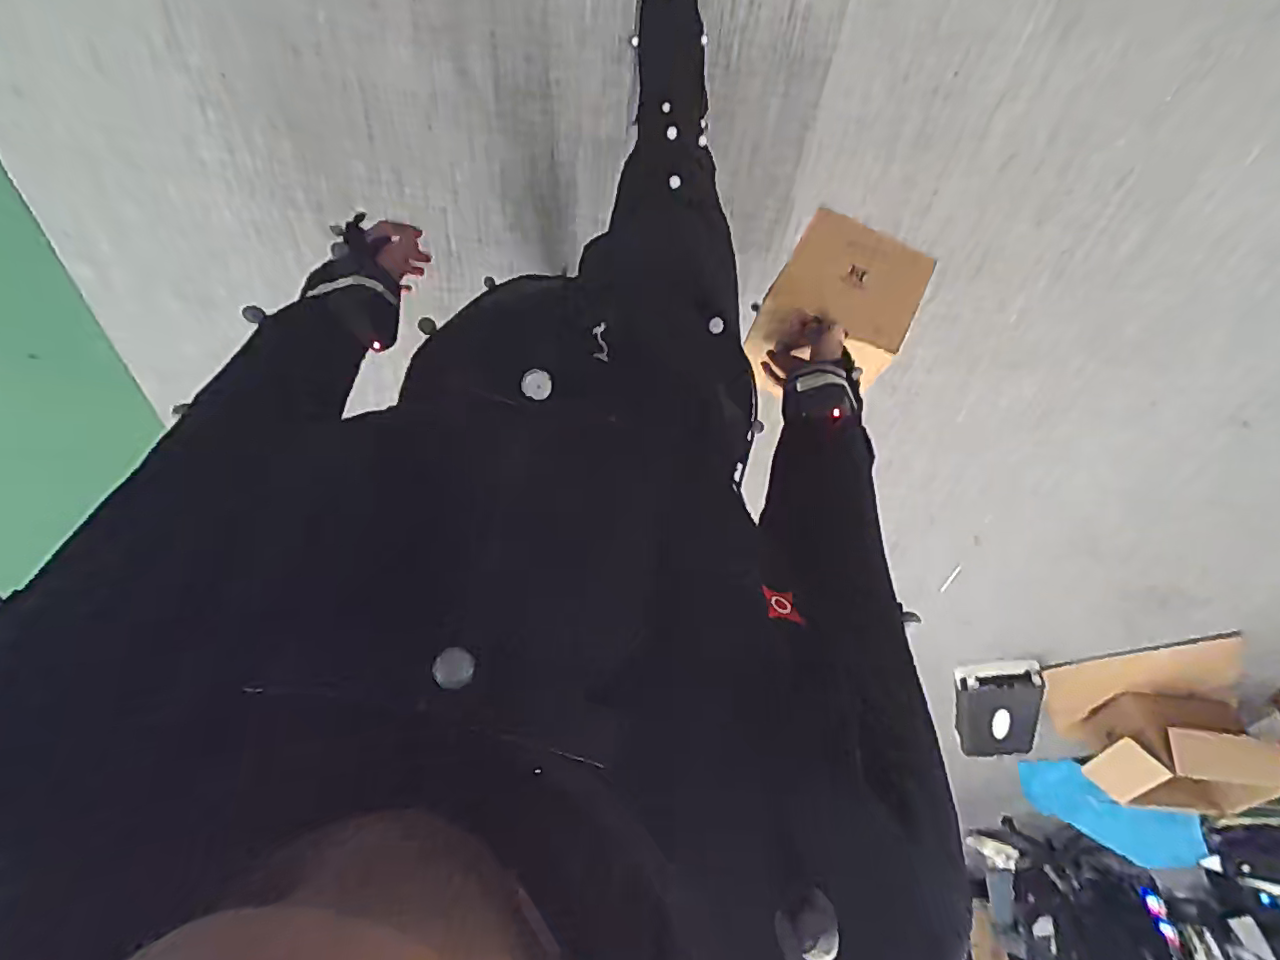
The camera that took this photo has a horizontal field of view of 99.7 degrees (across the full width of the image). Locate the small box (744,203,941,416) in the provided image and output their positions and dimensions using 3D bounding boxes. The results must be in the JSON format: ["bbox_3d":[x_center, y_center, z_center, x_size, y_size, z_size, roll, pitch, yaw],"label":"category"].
[{"bbox_3d":[0.254,-0.215,0.718,0.168,0.179,0.176,29,157,7],"label":"small box"}]
